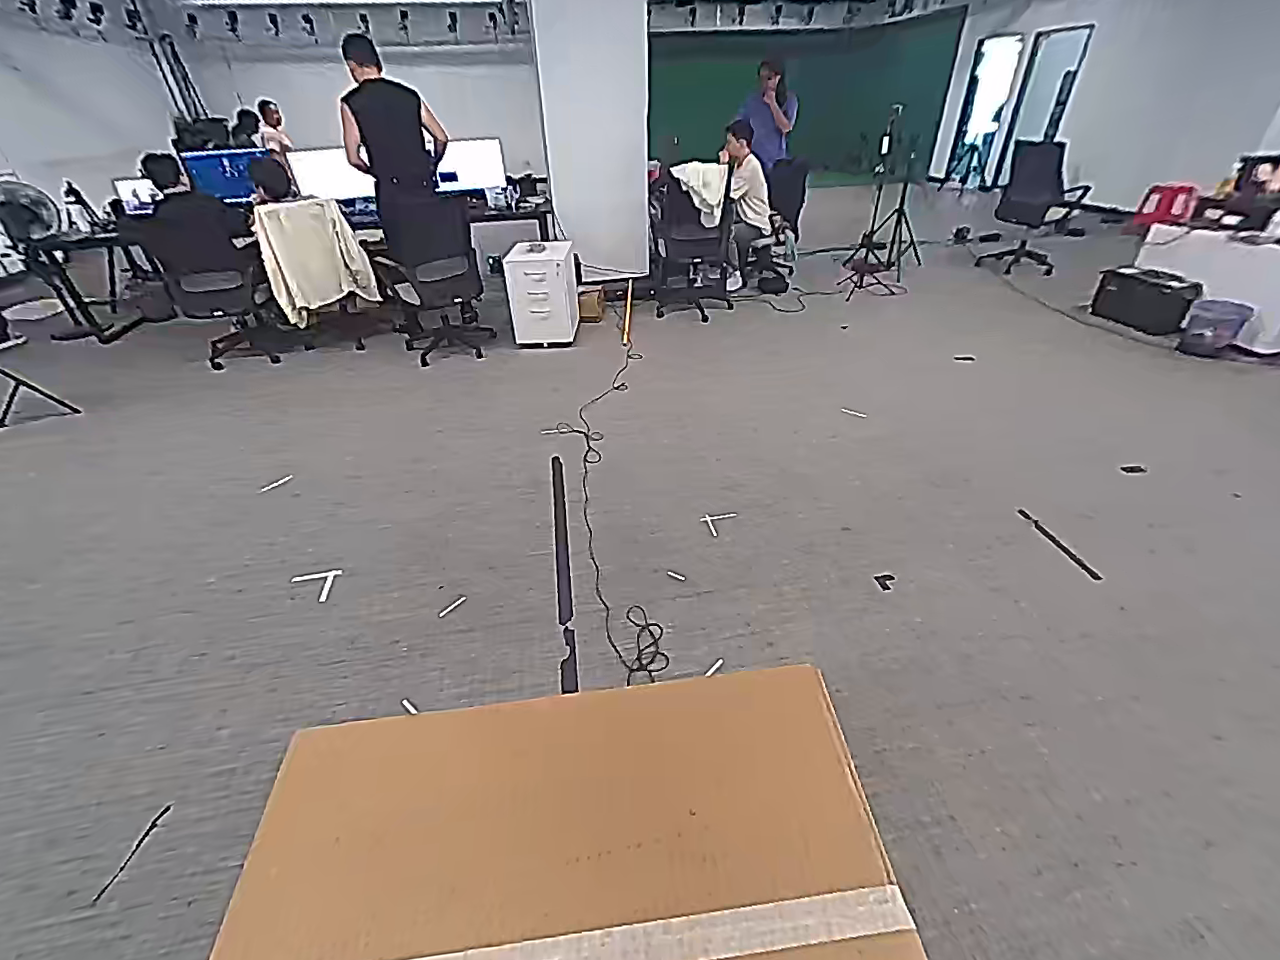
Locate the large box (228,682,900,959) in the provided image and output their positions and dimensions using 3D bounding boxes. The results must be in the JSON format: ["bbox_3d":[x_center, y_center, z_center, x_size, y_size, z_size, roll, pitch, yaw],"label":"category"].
[{"bbox_3d":[-0.038,0.396,0.411,0.408,0.320,0.320,-7,42,-2],"label":"large box"}]
